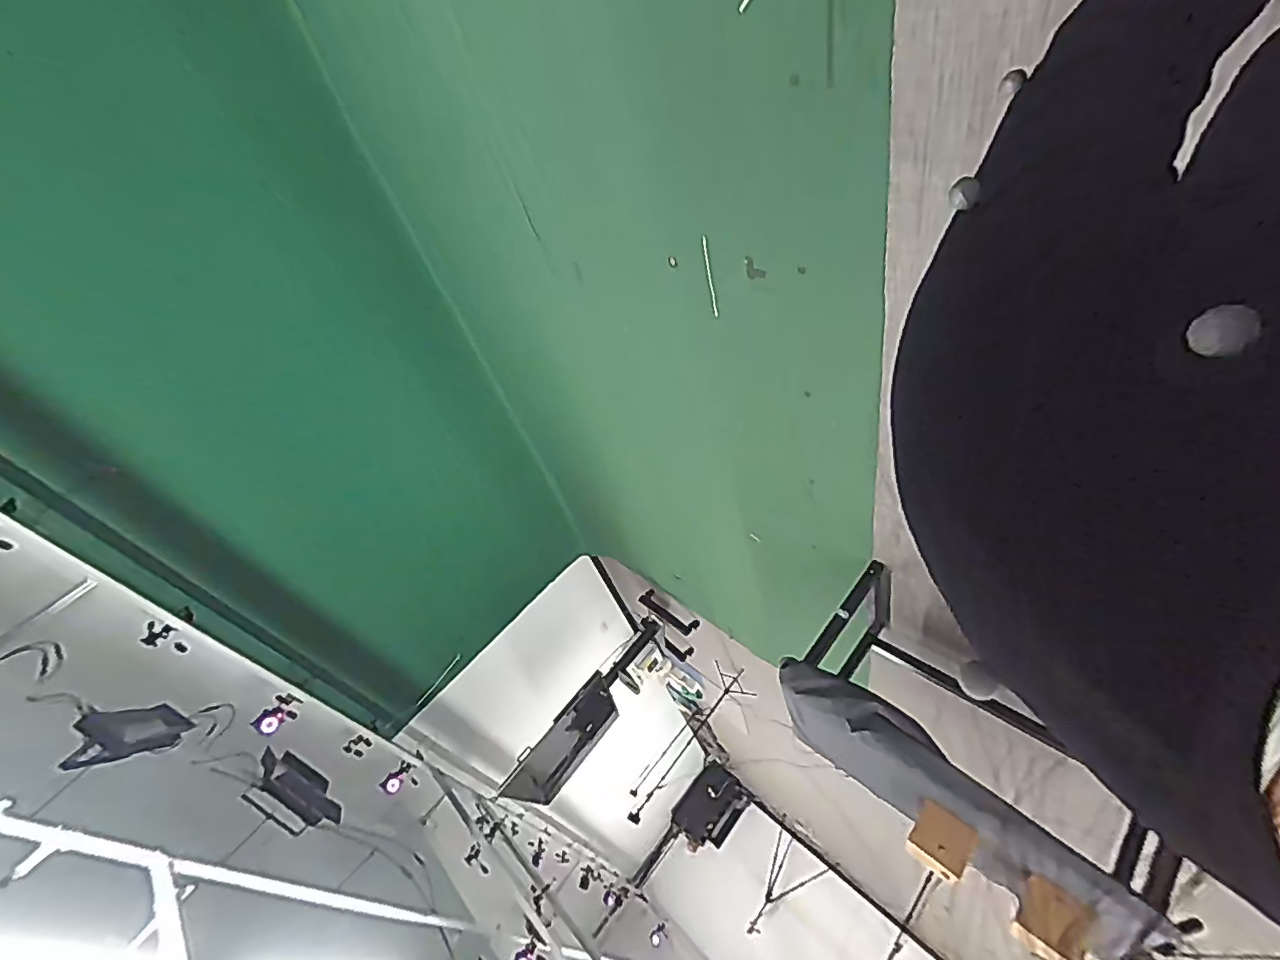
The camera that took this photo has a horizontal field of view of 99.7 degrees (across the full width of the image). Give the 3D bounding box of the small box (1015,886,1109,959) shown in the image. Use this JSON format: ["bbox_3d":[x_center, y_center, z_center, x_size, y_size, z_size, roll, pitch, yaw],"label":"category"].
[{"bbox_3d":[1.310,1.409,1.683,0.179,0.176,0.168,24,149,43],"label":"small box"}]

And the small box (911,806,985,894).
[{"bbox_3d":[1.077,1.293,1.893,0.179,0.176,0.168,26,150,41],"label":"small box"}]
